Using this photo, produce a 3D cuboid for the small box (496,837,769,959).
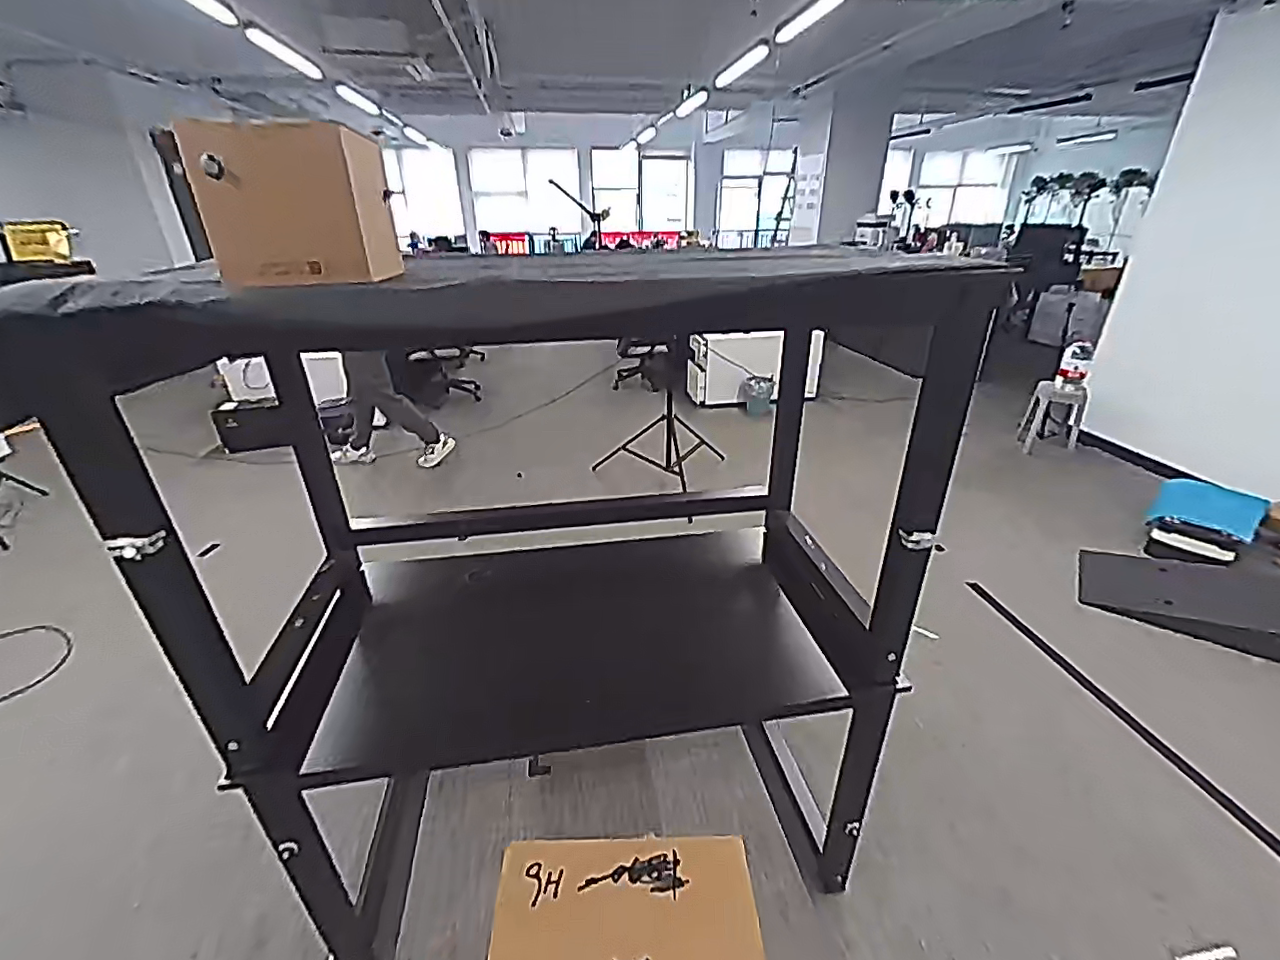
[{"bbox_3d":[-0.008,0.364,0.347,0.168,0.176,0.179,2,31,-4],"label":"small box"}]
